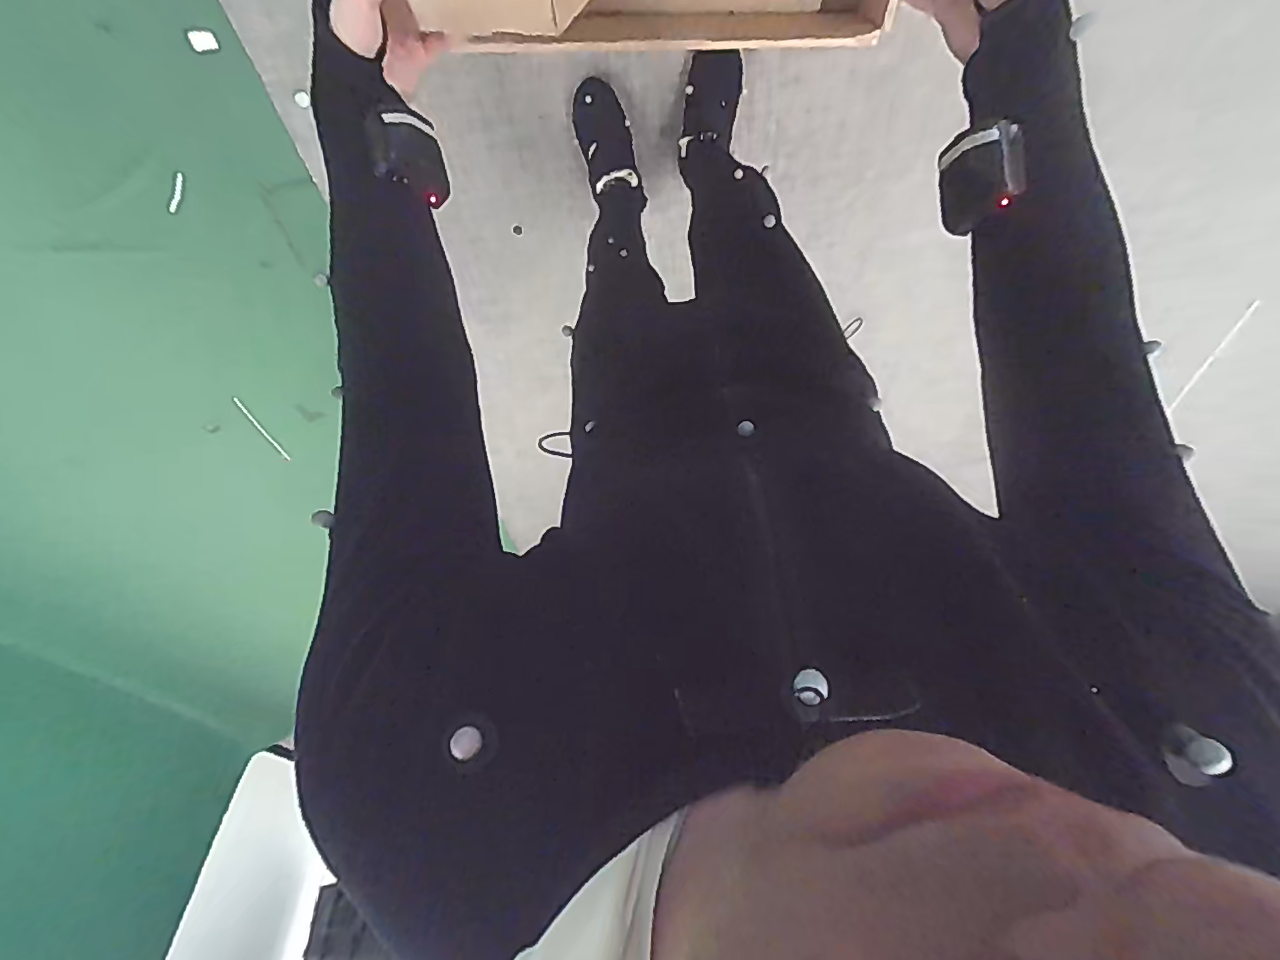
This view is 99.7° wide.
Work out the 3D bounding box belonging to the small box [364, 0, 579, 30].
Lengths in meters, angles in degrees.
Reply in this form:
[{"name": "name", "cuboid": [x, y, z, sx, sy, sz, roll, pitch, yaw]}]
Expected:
[{"name": "small box", "cuboid": [-0.124, -0.469, 0.391, 0.168, 0.176, 0.179, 13, 151, 13]}]
